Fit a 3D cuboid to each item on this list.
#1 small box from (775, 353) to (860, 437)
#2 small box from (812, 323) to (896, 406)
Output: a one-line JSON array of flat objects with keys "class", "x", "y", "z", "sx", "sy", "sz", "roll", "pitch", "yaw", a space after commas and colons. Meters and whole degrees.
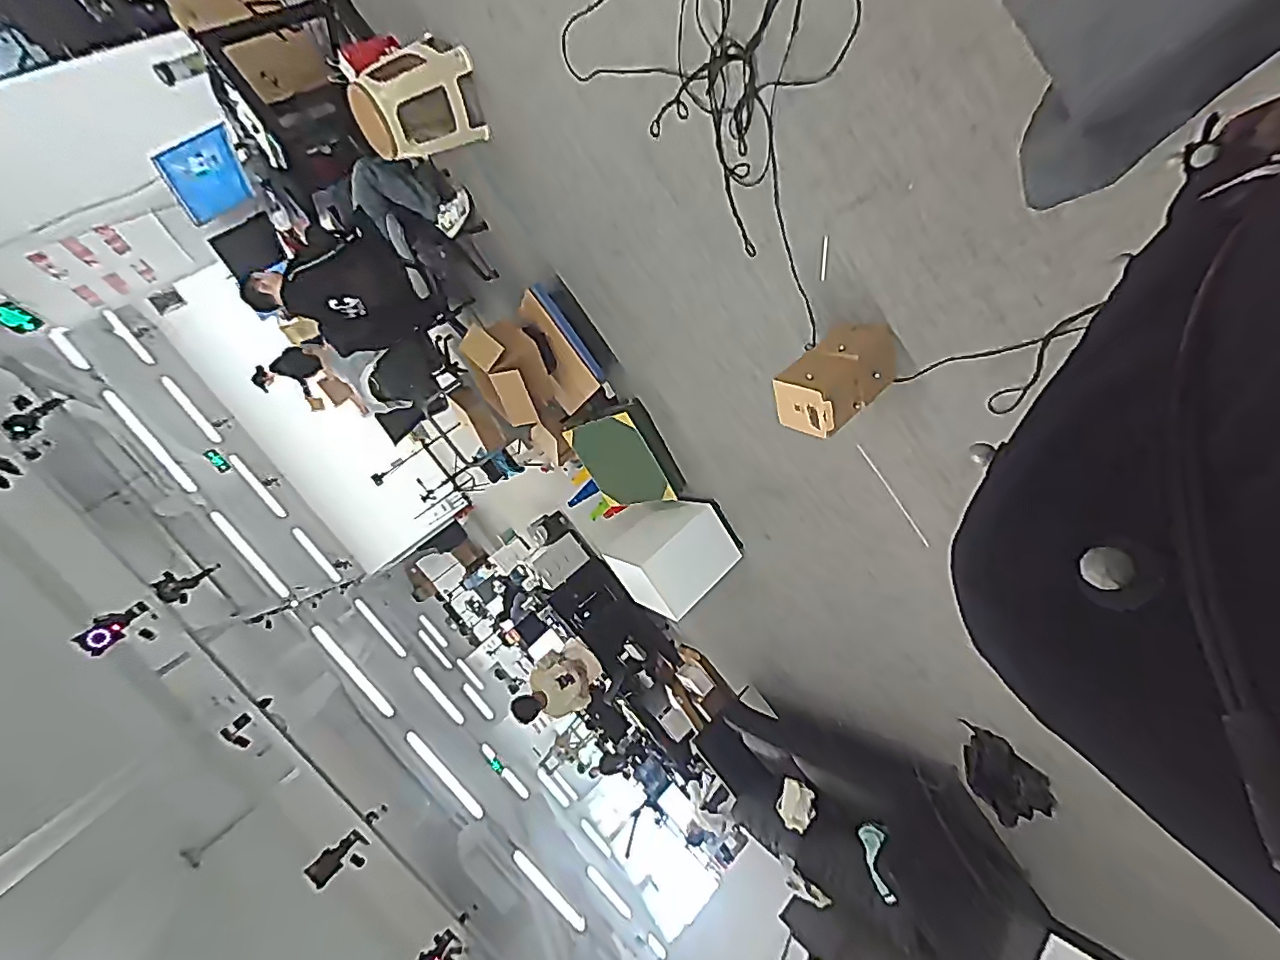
[{"class": "small box", "x": 0.530, "y": -0.257, "z": 1.592, "sx": 0.179, "sy": 0.176, "sz": 0.168, "roll": 29, "pitch": 149, "yaw": 46}, {"class": "small box", "x": 0.654, "y": -0.354, "z": 1.641, "sx": 0.168, "sy": 0.176, "sz": 0.179, "roll": 24, "pitch": 146, "yaw": 50}]
